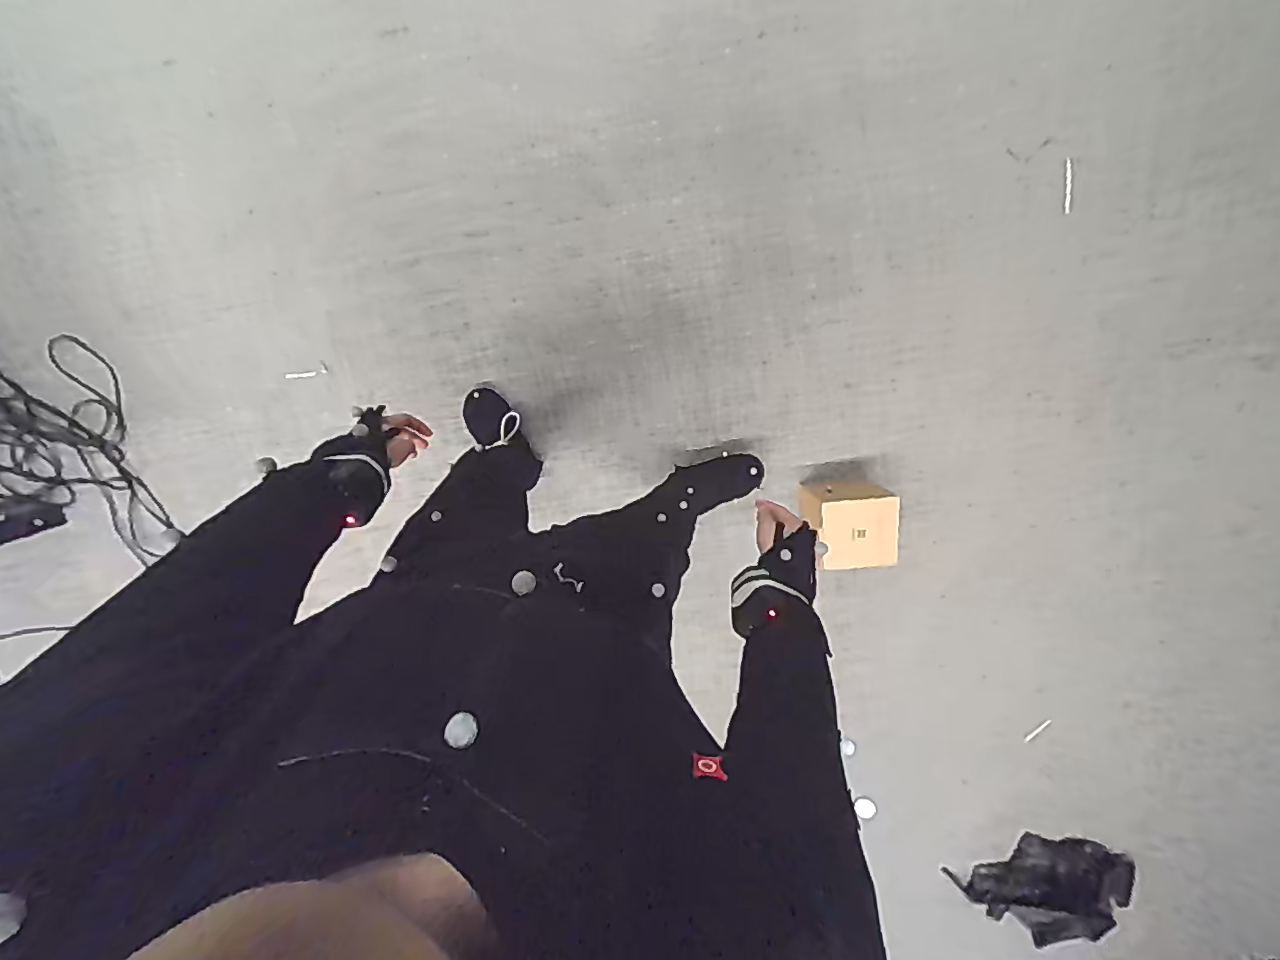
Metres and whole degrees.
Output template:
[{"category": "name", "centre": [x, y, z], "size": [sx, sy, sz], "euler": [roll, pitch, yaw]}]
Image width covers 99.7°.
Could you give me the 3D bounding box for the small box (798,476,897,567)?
[{"category": "small box", "centre": [0.481, 0.093, 1.282], "size": [0.179, 0.176, 0.168], "euler": [-5, 106, -1]}]
